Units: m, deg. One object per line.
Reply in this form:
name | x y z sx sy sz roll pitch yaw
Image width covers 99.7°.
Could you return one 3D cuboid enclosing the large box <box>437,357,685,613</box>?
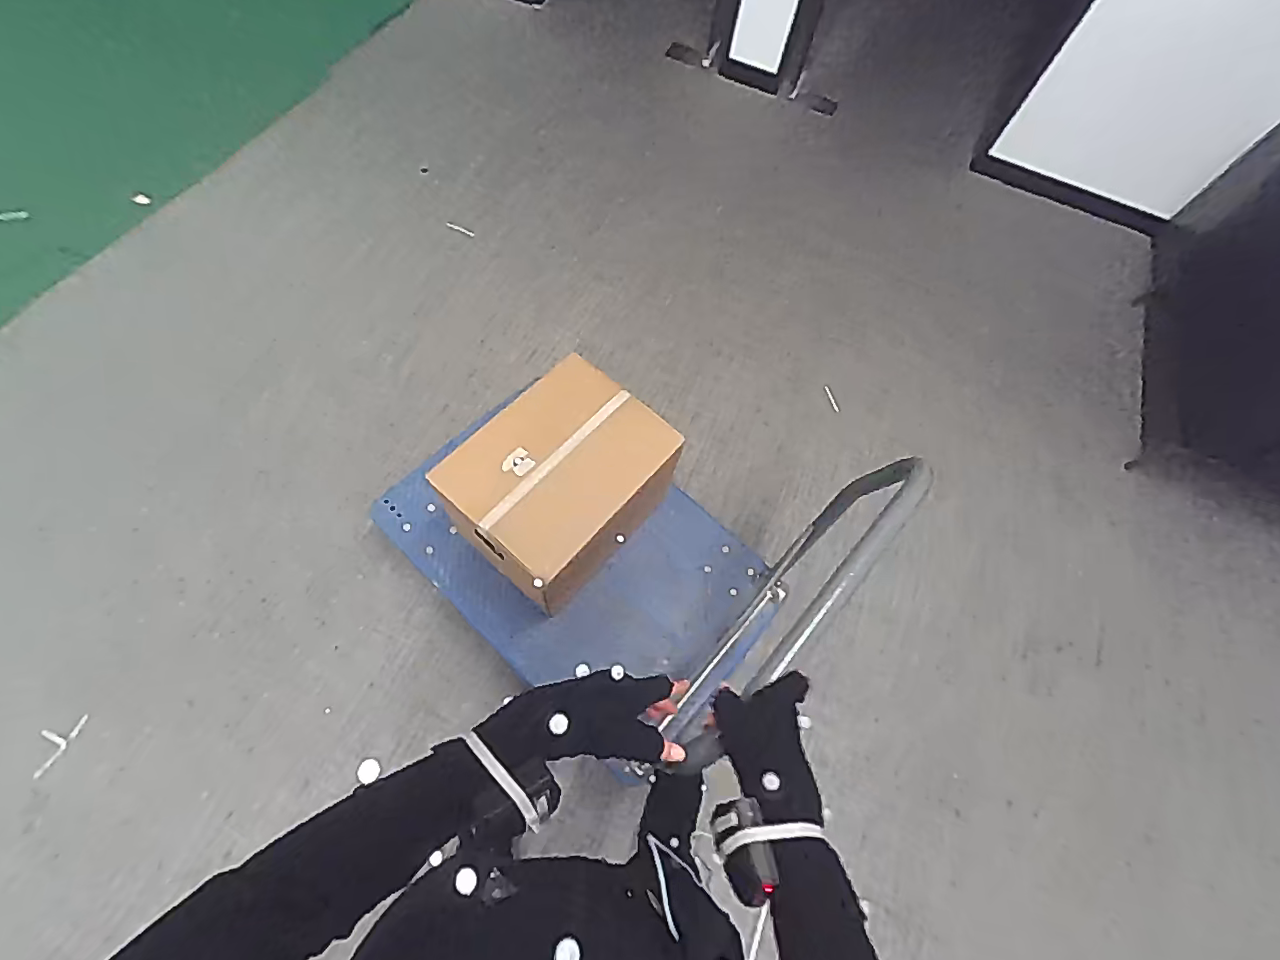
large box | -0.159 0.019 1.190 0.320 0.320 0.408 39 68 12
